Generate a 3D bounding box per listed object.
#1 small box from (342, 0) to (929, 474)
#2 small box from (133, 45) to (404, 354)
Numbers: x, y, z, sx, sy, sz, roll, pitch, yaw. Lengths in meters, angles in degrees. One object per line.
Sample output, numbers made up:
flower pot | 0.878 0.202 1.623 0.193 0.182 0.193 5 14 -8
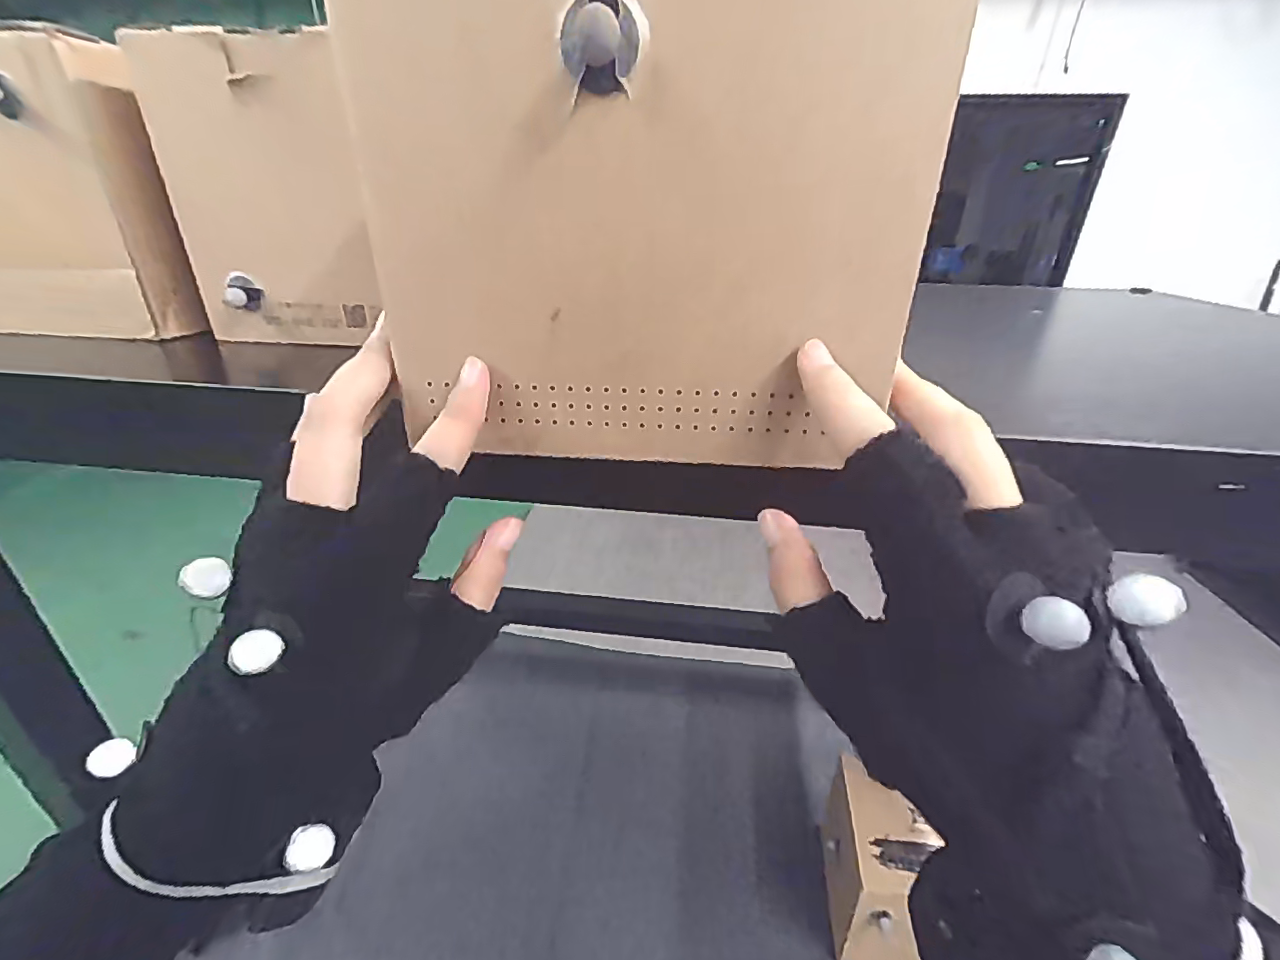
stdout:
small box | 0.002 -0.111 0.242 0.179 0.176 0.168 3 27 4
small box | -0.194 -0.195 0.401 0.168 0.176 0.179 4 26 4
